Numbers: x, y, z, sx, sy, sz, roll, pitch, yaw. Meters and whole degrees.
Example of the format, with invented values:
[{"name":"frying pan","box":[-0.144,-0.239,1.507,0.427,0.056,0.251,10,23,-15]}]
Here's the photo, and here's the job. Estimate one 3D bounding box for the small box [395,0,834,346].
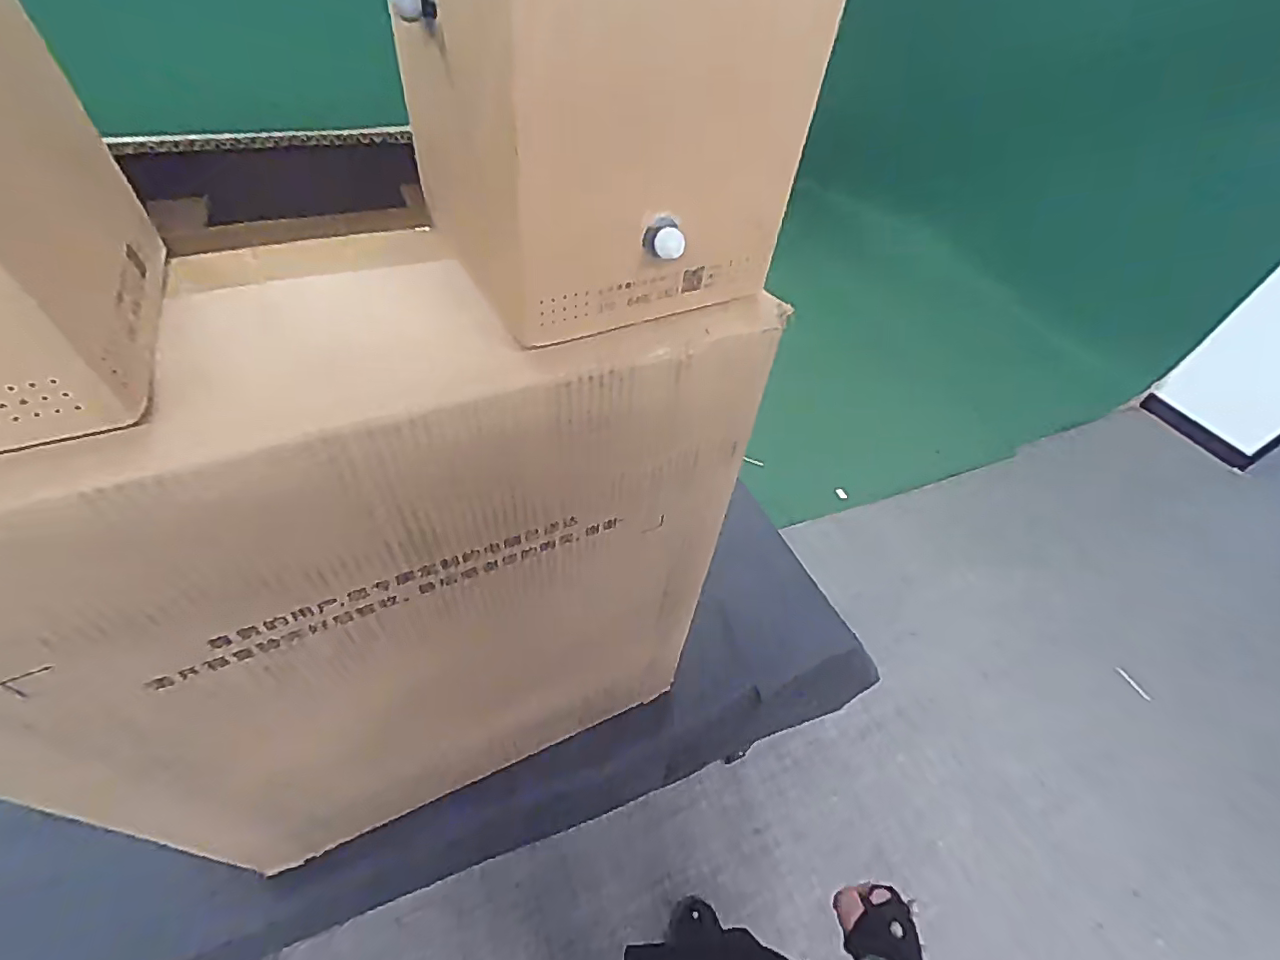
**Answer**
[{"name":"small box","box":[-0.030,-0.205,0.312,0.168,0.176,0.179,-22,55,-24]}]
